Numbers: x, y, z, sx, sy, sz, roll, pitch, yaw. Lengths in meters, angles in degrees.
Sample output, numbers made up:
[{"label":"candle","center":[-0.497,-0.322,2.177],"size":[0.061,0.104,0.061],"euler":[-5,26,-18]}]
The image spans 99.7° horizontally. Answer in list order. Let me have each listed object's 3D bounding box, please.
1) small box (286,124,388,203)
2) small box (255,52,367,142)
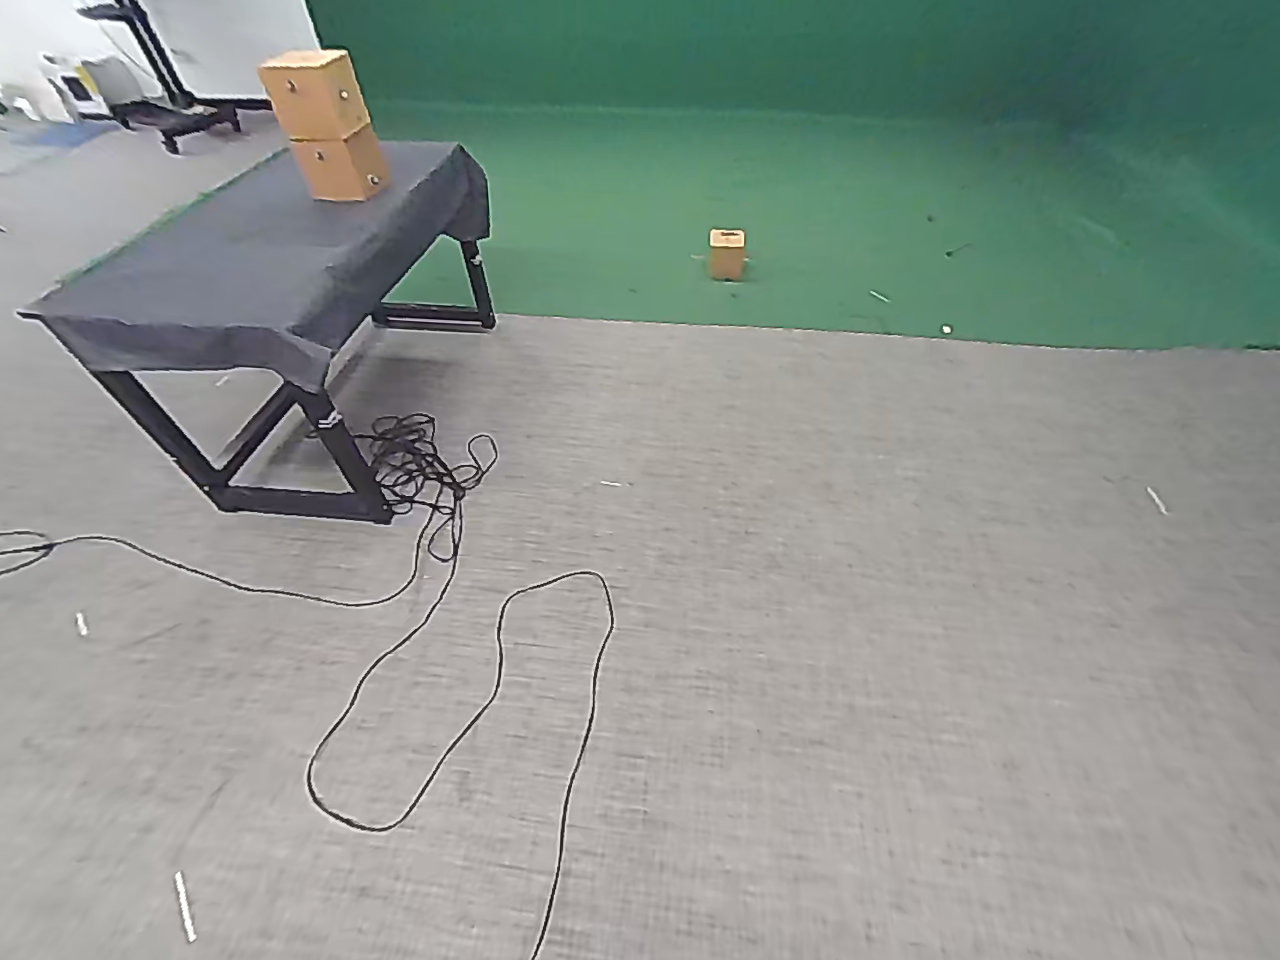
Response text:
[{"label":"small box","center":[-0.890,-0.941,1.605],"size":[0.179,0.176,0.168],"euler":[5,50,5]},{"label":"small box","center":[-0.886,-1.044,1.479],"size":[0.179,0.176,0.168],"euler":[3,50,6]}]
